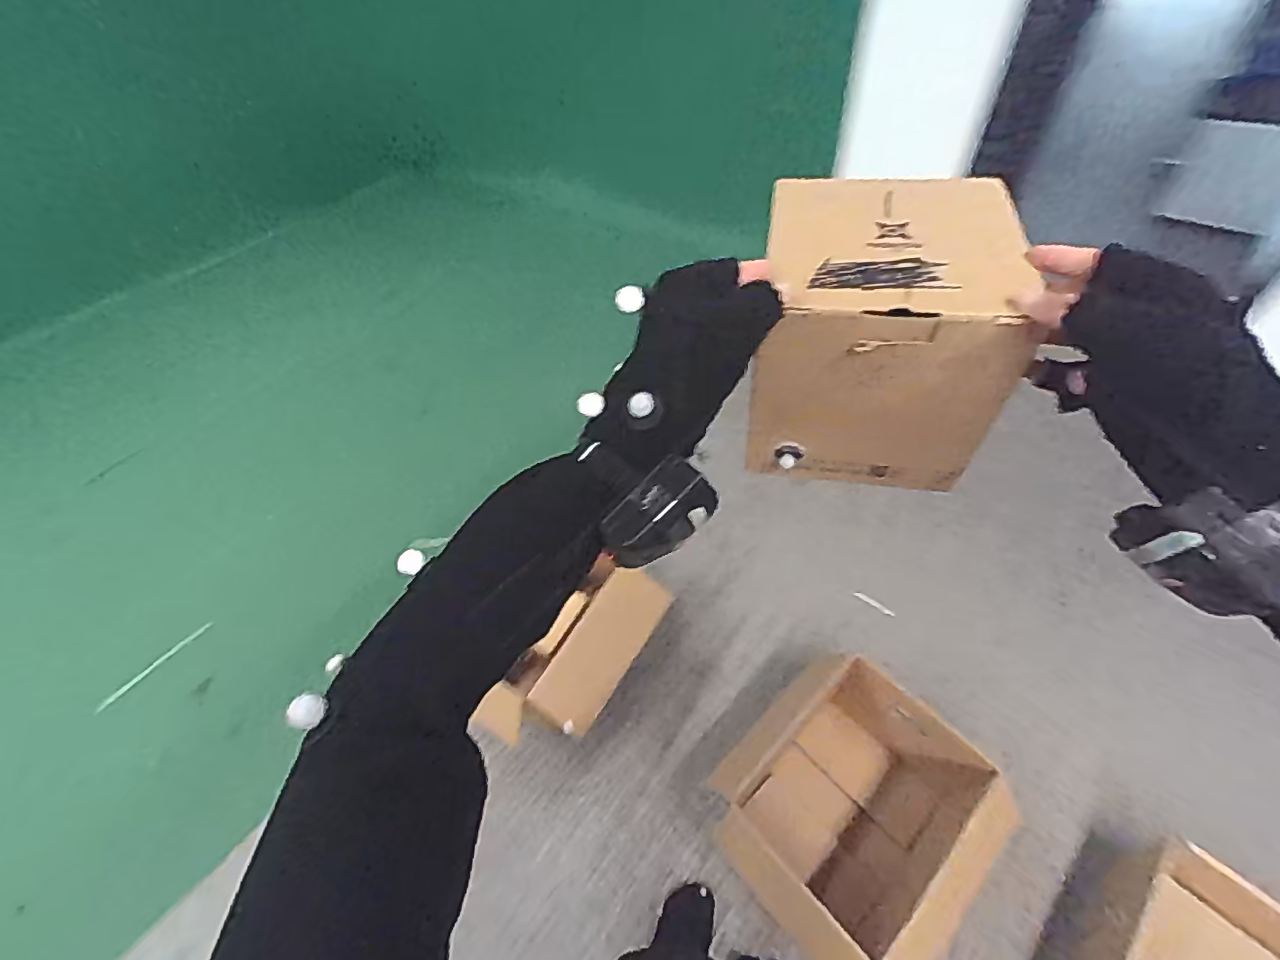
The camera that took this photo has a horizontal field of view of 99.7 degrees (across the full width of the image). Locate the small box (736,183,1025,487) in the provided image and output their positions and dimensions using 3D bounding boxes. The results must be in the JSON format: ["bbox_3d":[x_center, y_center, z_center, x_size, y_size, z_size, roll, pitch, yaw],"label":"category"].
[{"bbox_3d":[0.168,-0.113,0.437,0.168,0.176,0.179,5,53,11],"label":"small box"}]
